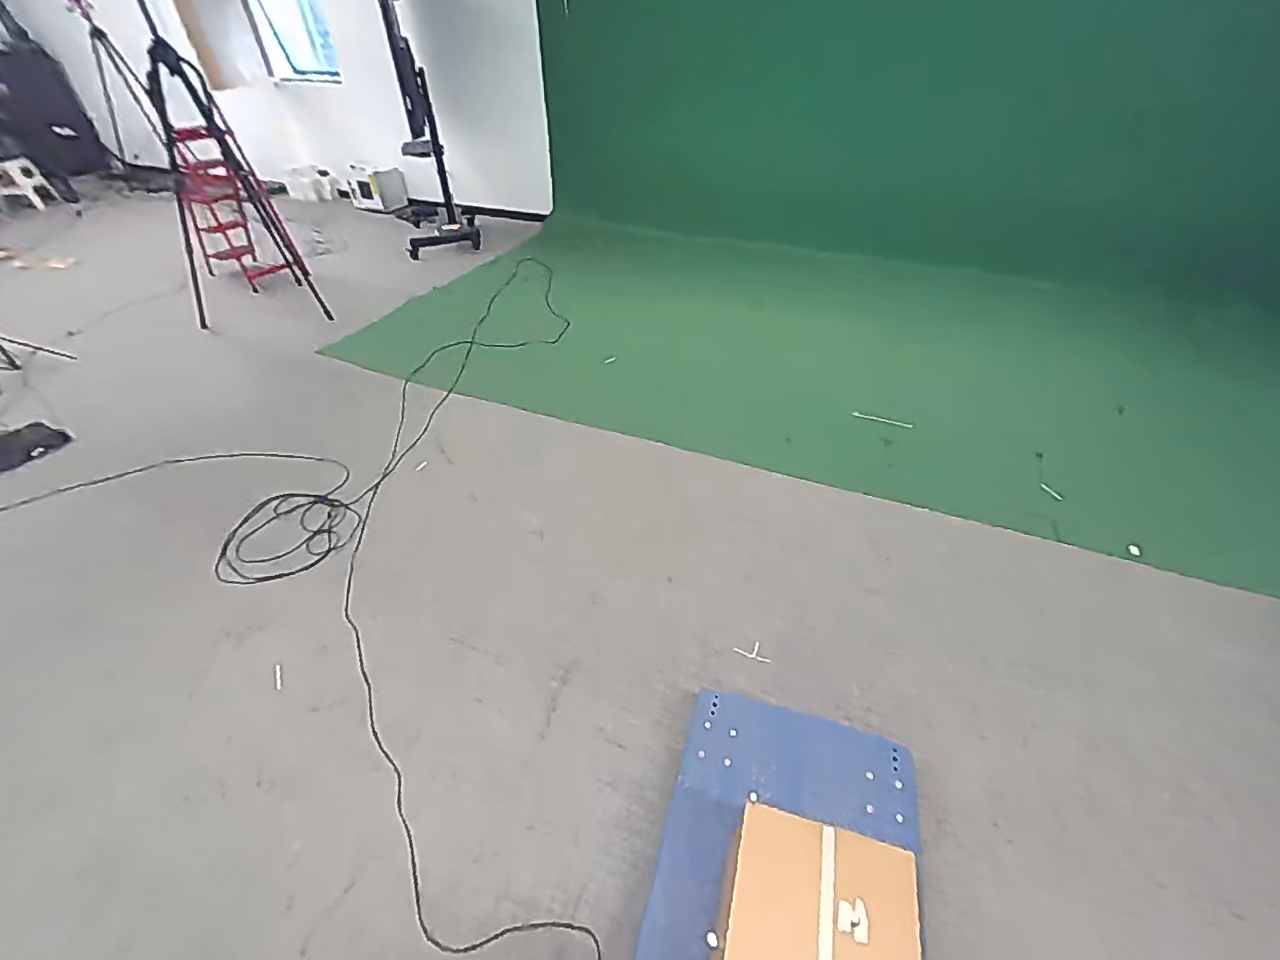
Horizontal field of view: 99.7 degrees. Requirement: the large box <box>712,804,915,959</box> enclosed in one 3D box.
[{"bbox_3d":[0.292,0.902,0.982,0.320,0.320,0.408,12,41,12],"label":"large box"}]
